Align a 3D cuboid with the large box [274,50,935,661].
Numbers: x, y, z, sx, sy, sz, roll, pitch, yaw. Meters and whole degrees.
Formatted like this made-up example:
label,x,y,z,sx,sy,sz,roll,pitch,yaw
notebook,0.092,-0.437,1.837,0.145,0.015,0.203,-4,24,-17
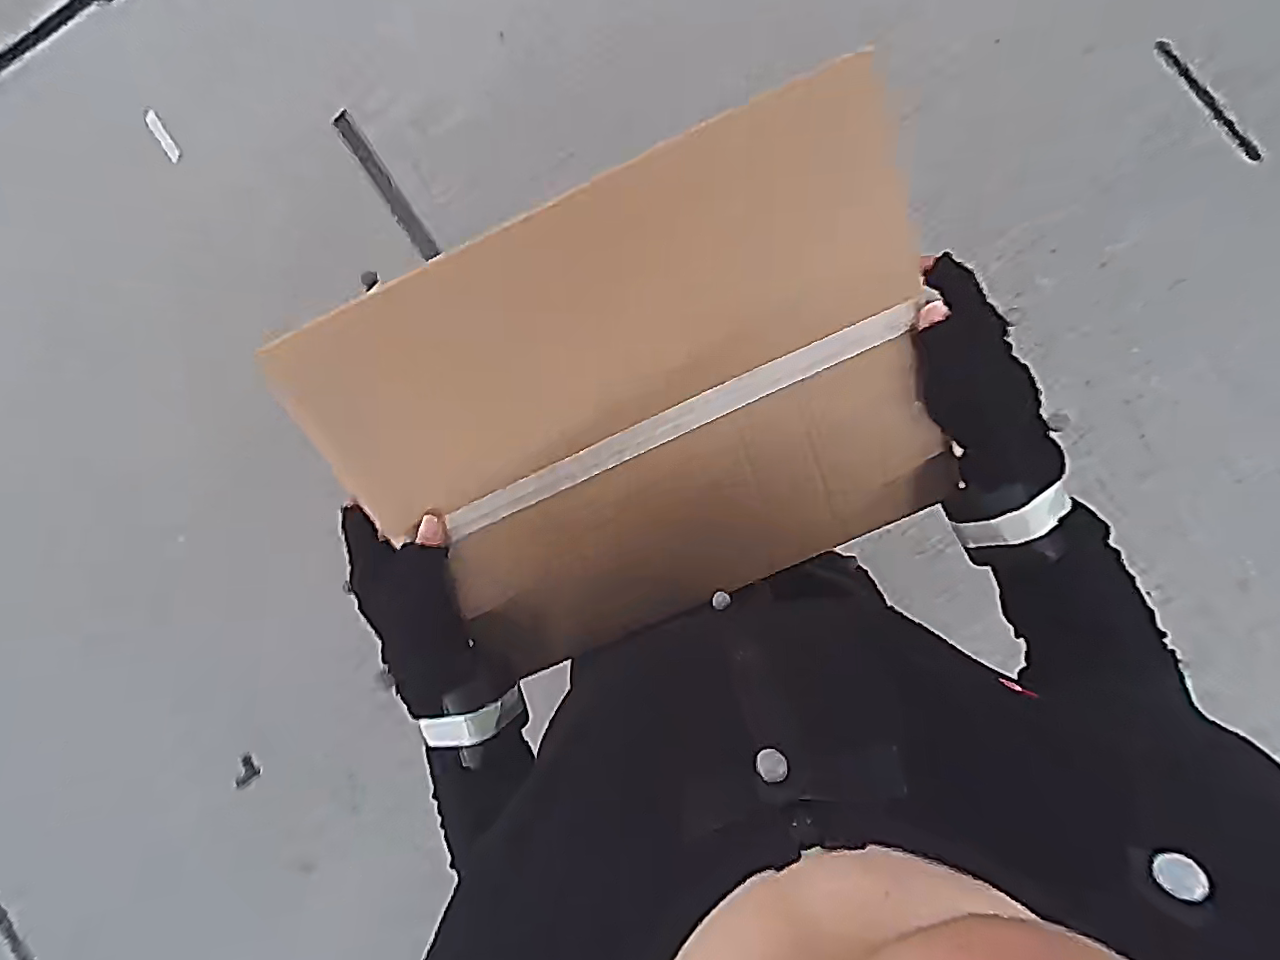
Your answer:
label,x,y,z,sx,sy,sz,roll,pitch,yaw
large box,-0.016,-0.106,0.525,0.408,0.320,0.320,-24,117,5
